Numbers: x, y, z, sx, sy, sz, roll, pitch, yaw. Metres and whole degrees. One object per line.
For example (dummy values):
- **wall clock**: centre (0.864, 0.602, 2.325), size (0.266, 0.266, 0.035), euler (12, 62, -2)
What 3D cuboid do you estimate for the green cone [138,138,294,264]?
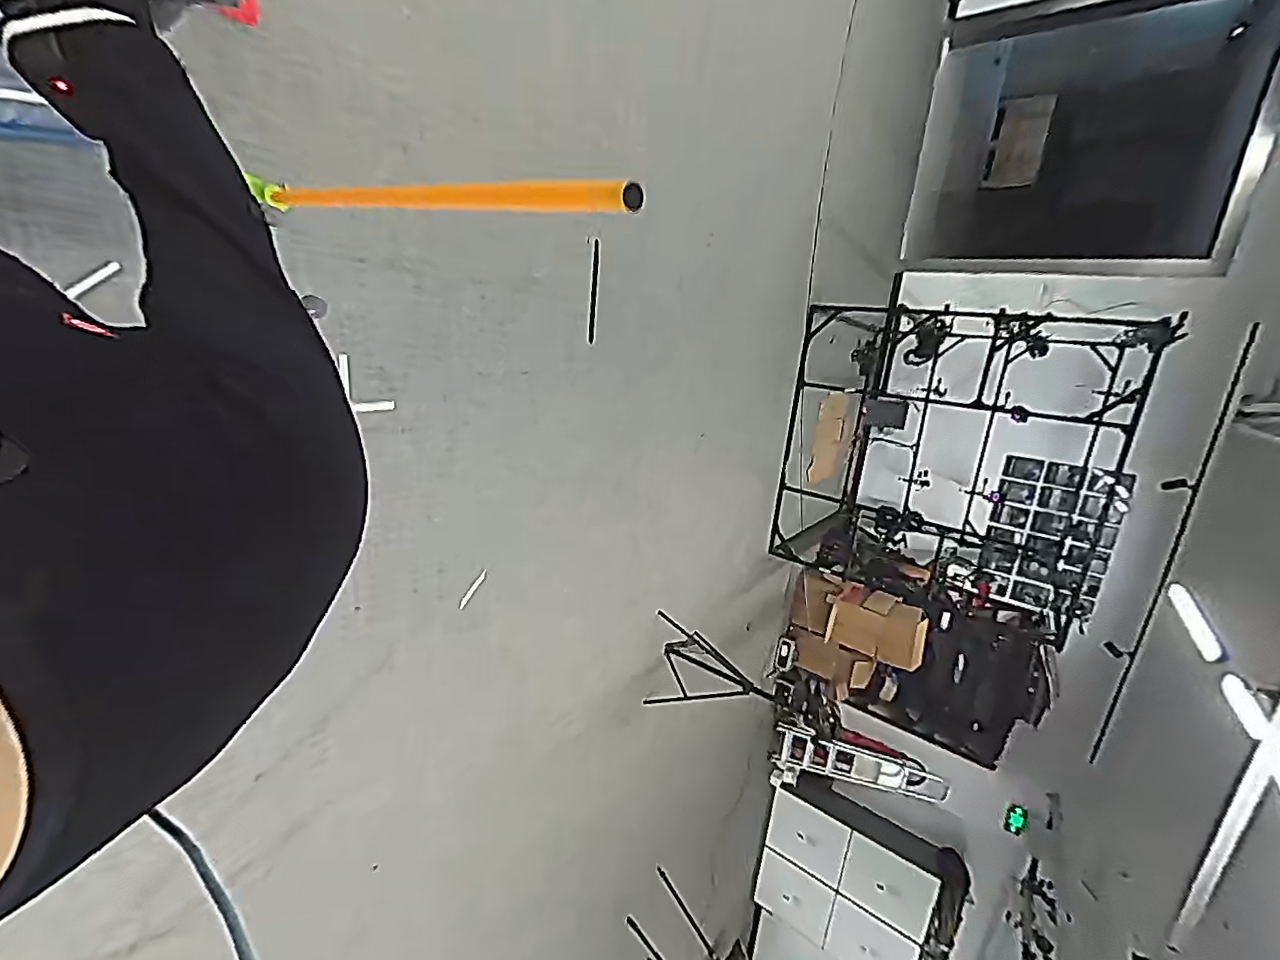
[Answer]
- **green cone**: centre (-0.783, -0.538, 1.047), size (0.202, 0.368, 0.200), euler (-8, 110, -56)

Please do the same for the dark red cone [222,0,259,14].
- **dark red cone**: centre (-0.705, -1.005, 0.936), size (0.201, 0.394, 0.202), euler (-15, 116, -55)
